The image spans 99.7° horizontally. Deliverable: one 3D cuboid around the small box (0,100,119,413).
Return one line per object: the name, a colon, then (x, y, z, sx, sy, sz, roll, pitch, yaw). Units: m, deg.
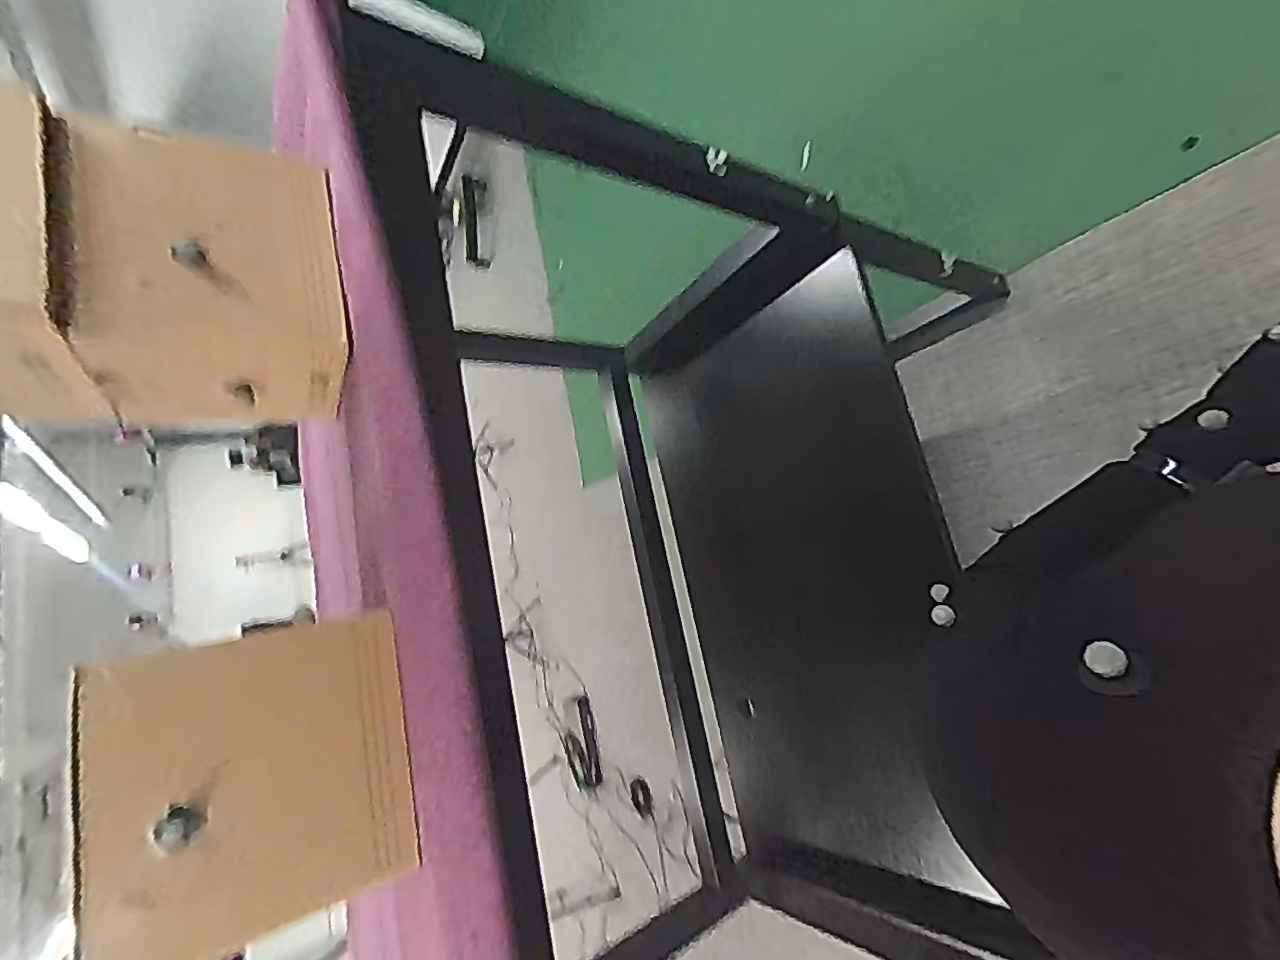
small box: (-0.485, -0.151, 0.373, 0.168, 0.176, 0.179, -27, 73, 54)

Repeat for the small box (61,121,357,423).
small box: (-0.358, -0.163, 0.476, 0.168, 0.176, 0.179, -27, 74, 54)

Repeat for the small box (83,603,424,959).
small box: (-0.268, 0.198, 0.398, 0.168, 0.176, 0.179, -25, 73, 51)
